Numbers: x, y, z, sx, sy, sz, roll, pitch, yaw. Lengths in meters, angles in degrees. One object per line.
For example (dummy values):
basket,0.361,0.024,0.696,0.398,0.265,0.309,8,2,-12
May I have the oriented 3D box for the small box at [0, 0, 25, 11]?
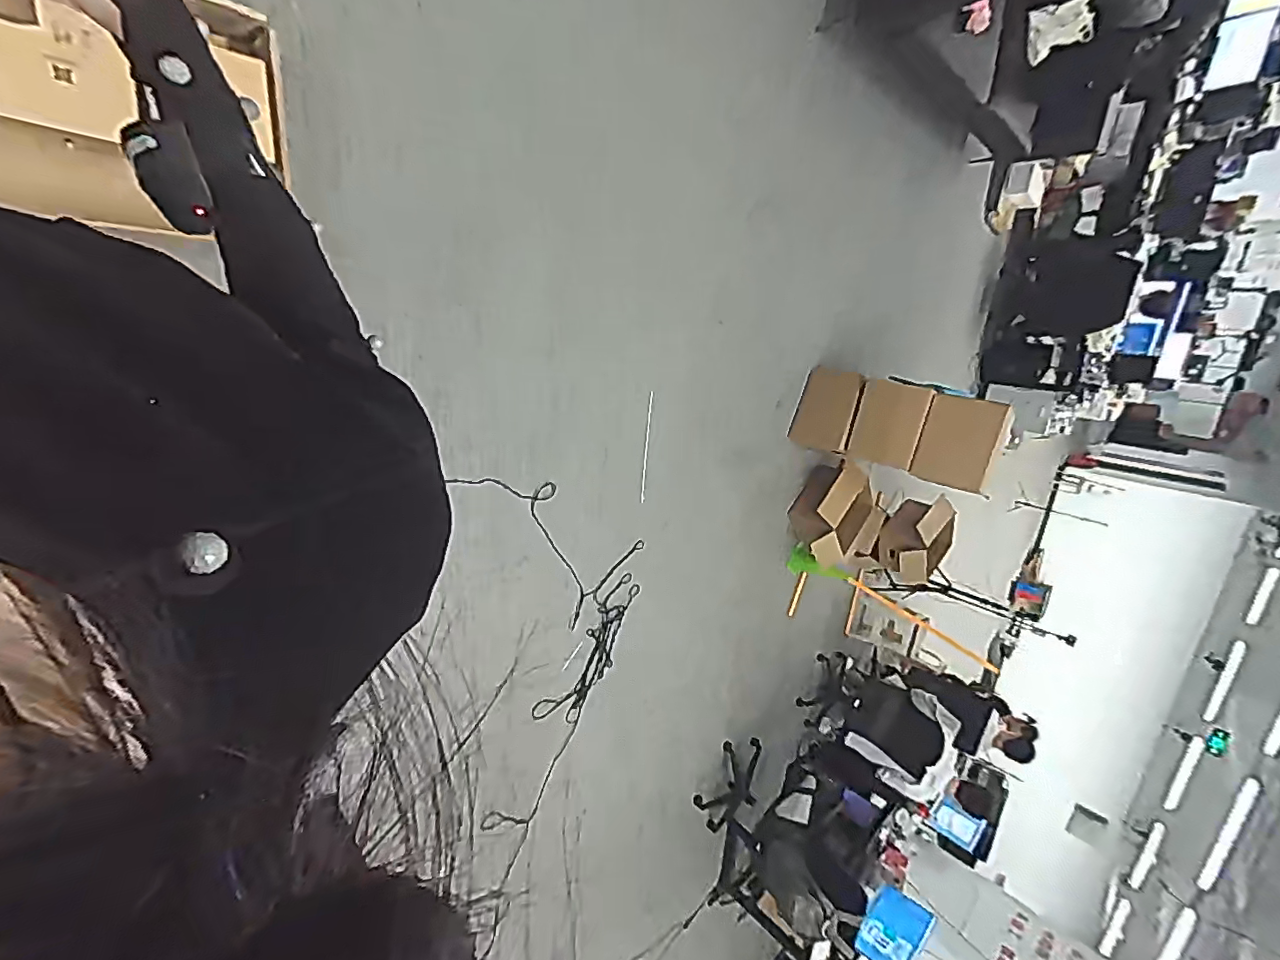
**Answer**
small box,-0.522,-0.423,0.330,0.179,0.176,0.168,-11,127,-46
